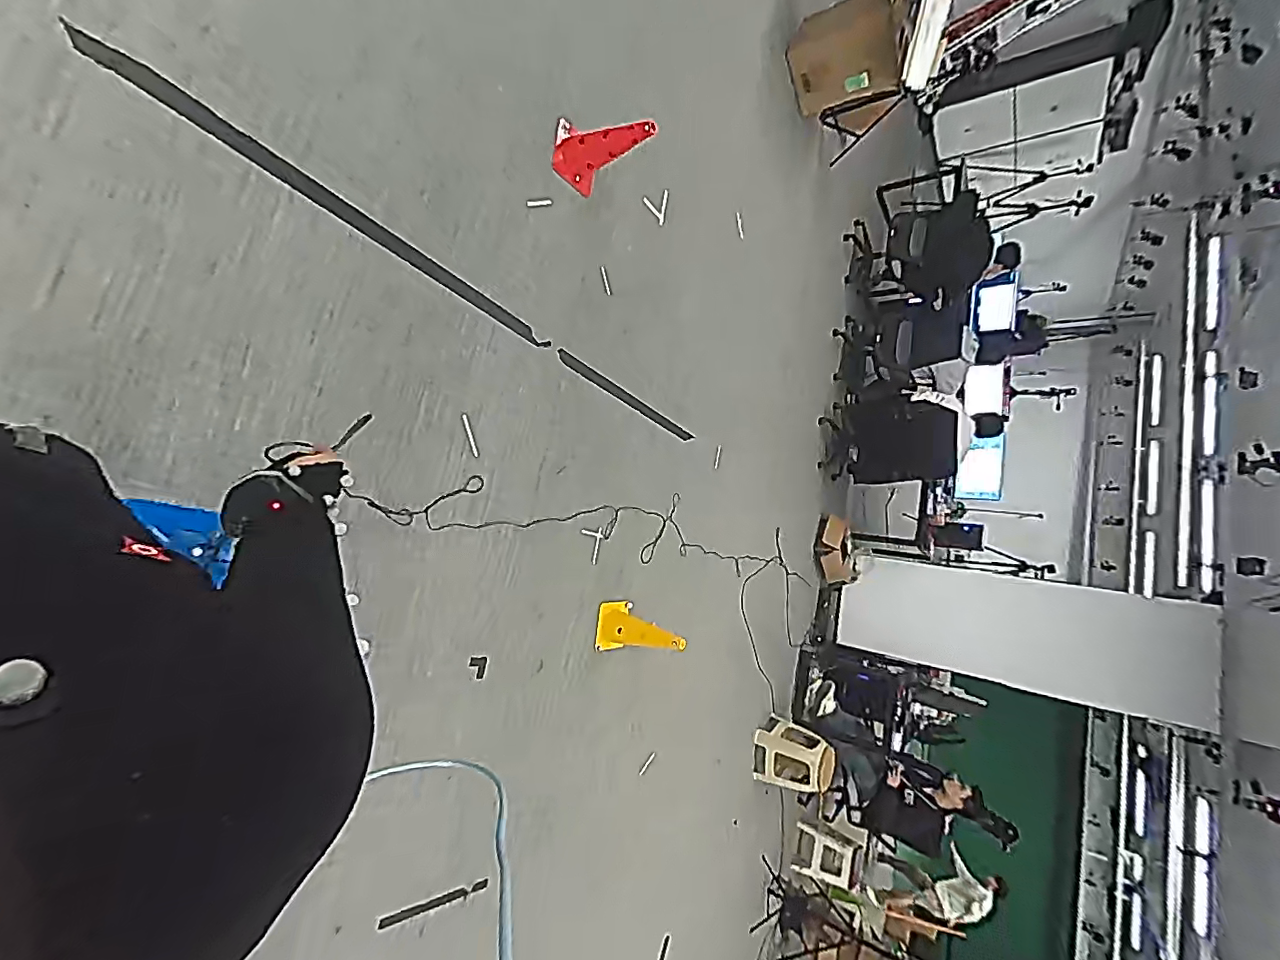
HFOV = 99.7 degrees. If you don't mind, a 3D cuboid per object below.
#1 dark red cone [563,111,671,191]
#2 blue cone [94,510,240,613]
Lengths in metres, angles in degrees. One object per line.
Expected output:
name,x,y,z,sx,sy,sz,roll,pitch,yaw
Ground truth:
dark red cone,-0.068,-1.166,1.849,0.202,0.394,0.201,12,85,-54
blue cone,-0.827,0.177,1.000,0.193,0.380,0.192,25,74,-52
